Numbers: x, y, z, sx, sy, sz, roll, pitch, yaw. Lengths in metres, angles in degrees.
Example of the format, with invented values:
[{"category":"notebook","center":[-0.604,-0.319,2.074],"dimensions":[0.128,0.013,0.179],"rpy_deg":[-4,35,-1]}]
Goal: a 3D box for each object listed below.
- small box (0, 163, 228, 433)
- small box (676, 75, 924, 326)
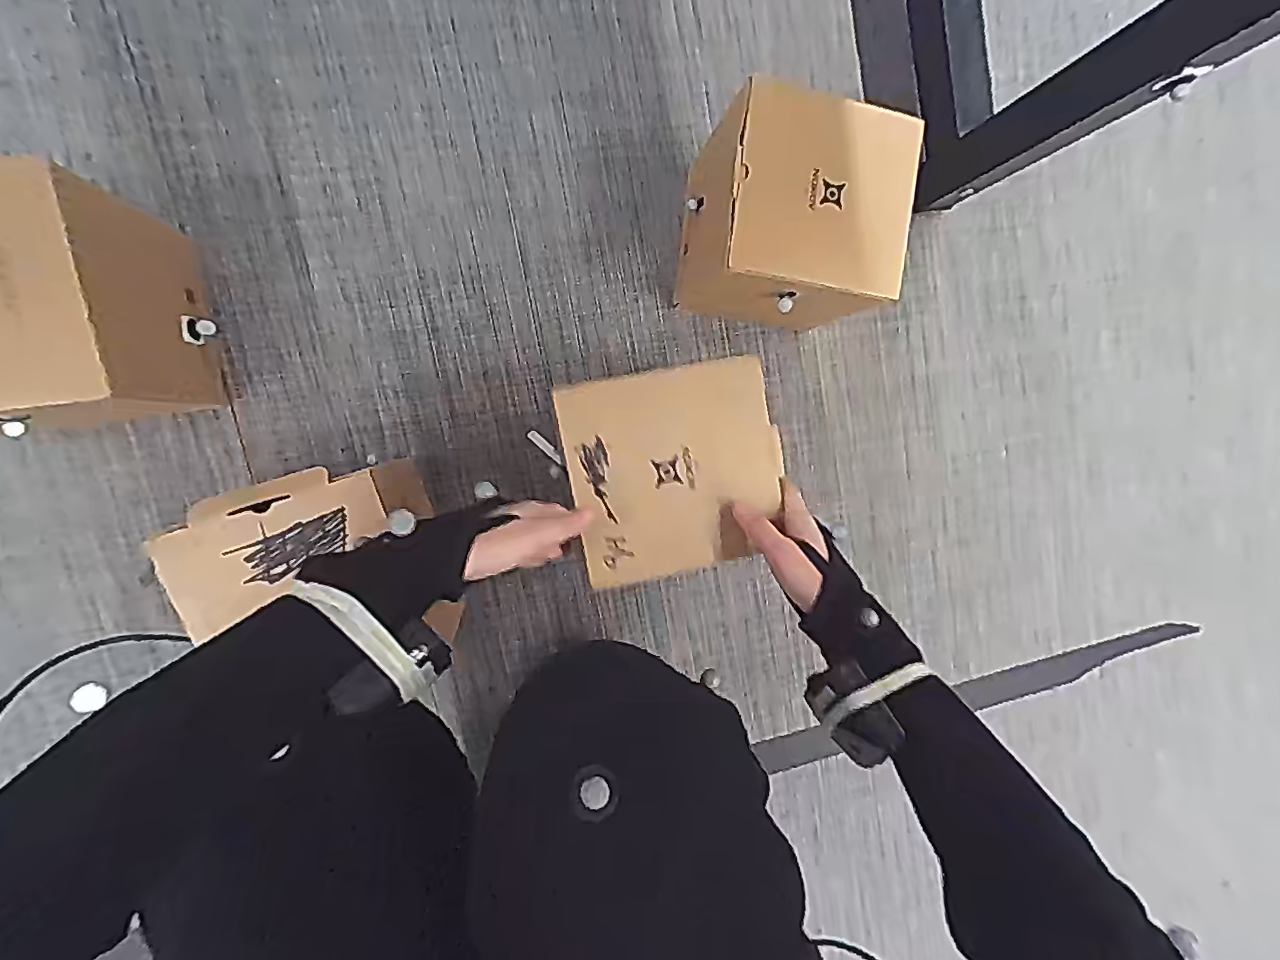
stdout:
[{"category":"small box","center":[-0.485,-0.129,0.435],"dimensions":[0.179,0.176,0.168],"rpy_deg":[-10,98,-12]},{"category":"small box","center":[0.150,-0.263,0.559],"dimensions":[0.179,0.176,0.168],"rpy_deg":[6,95,-12]}]
